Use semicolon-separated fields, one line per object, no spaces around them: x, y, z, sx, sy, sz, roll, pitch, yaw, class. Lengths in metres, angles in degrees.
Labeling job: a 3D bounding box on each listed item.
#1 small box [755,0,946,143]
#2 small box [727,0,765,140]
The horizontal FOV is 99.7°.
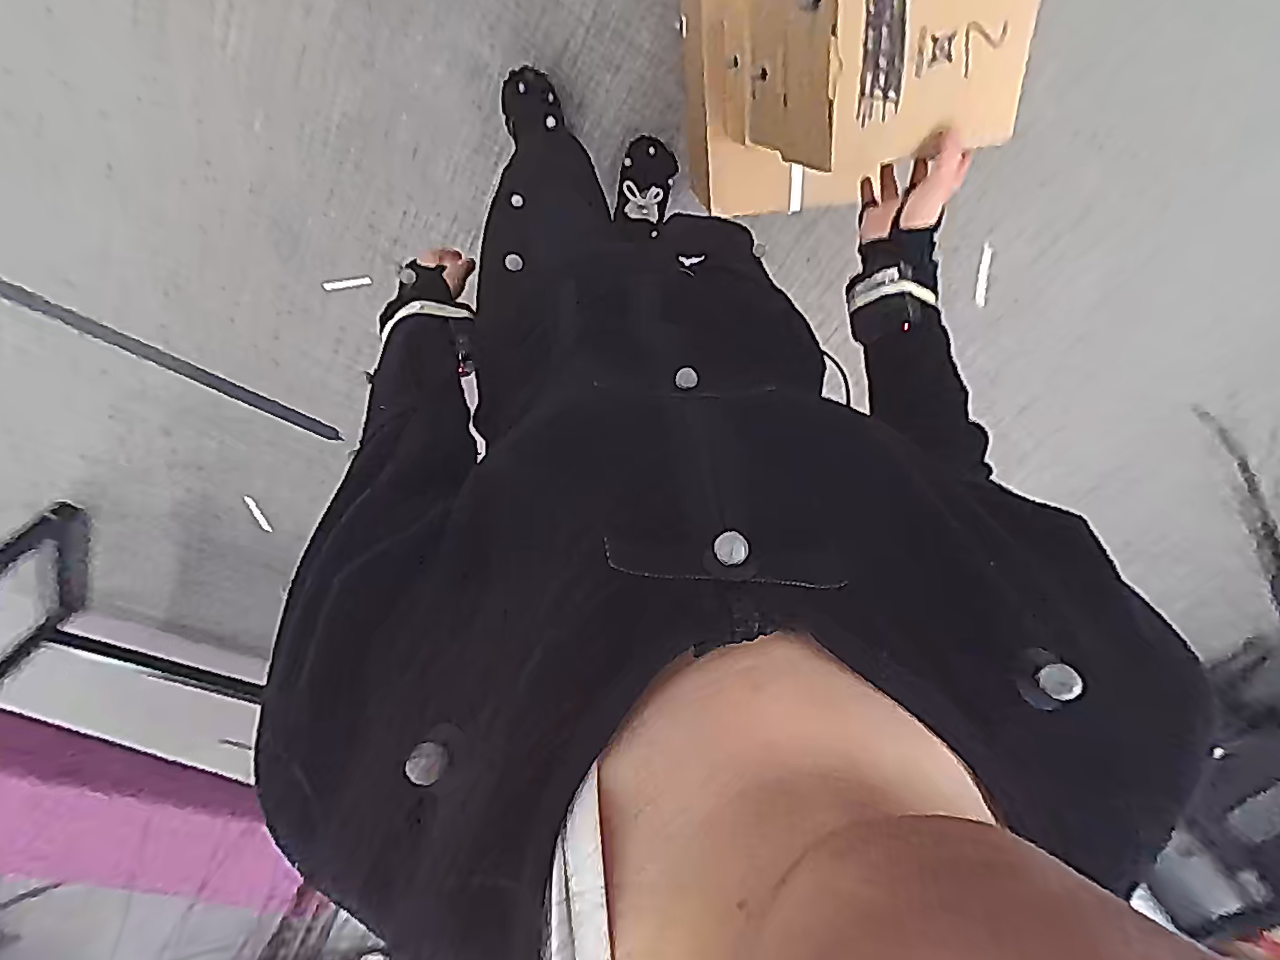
0.242;-0.522;0.665;0.179;0.176;0.168;-7;125;2;small box
0.226;-0.612;0.802;0.179;0.176;0.168;-7;125;2;small box
